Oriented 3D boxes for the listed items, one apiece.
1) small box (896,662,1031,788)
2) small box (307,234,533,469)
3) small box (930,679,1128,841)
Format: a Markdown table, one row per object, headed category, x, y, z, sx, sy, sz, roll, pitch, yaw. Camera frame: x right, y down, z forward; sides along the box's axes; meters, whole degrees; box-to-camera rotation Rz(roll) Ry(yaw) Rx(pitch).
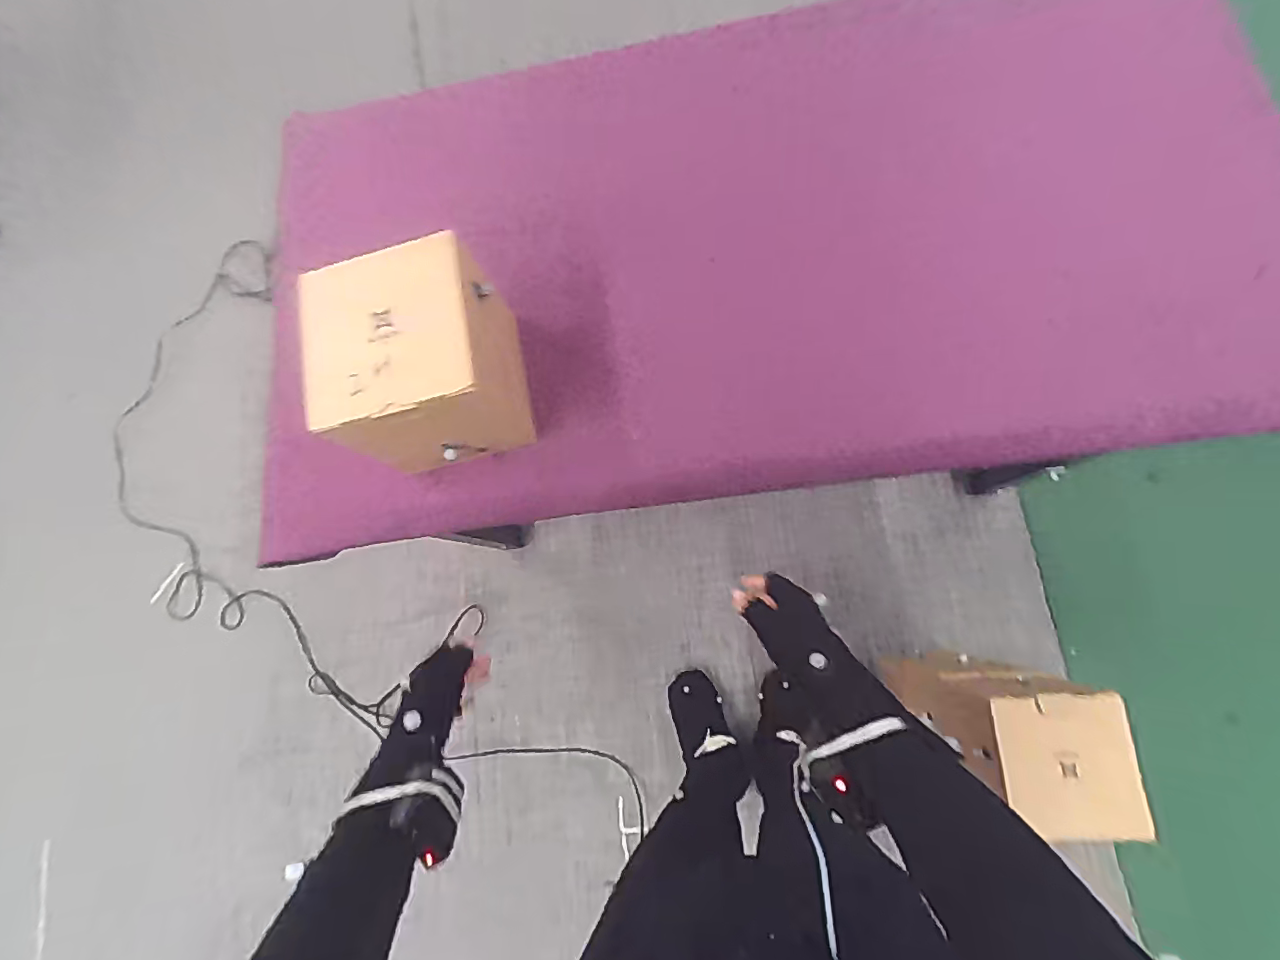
| category | x | y | z | sx | sy | sz | roll | pitch | yaw |
| --- | --- | --- | --- | --- | --- | --- | --- | --- | --- |
| small box | 0.572 | 0.425 | 0.957 | 0.168 | 0.176 | 0.179 | -3 | 77 | 7 |
| small box | -0.230 | -0.127 | 0.594 | 0.168 | 0.176 | 0.179 | -13 | 76 | 5 |
| small box | 0.555 | 0.400 | 0.798 | 0.168 | 0.176 | 0.179 | -4 | 77 | 7 |
